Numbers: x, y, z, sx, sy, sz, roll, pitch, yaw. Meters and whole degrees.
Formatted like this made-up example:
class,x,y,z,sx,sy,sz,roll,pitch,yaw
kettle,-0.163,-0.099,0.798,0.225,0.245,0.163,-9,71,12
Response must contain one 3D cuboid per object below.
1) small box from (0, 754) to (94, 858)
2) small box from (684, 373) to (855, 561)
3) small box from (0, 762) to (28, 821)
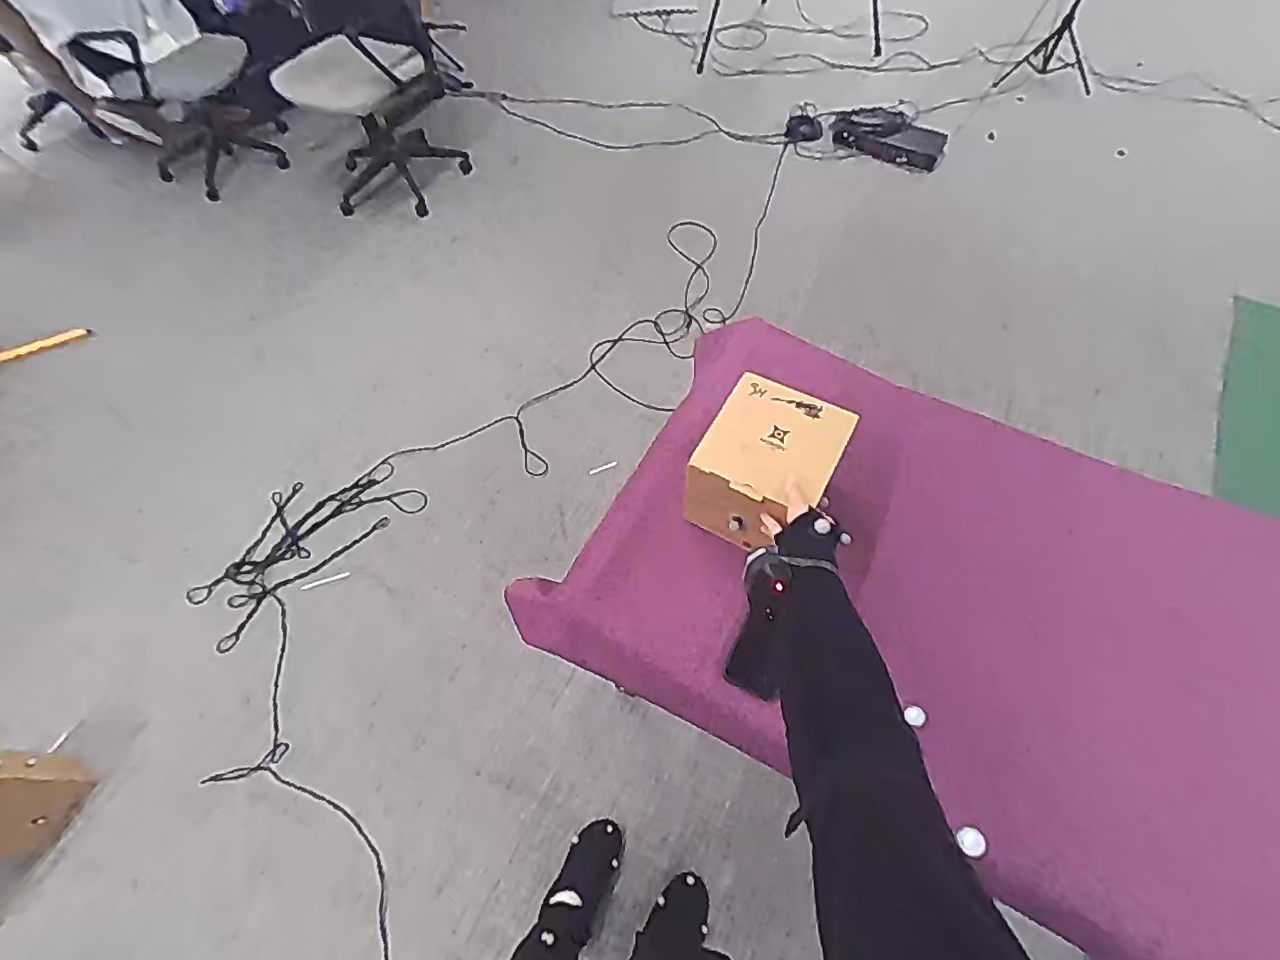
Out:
class,x,y,z,sx,sy,sz,roll,pitch,yaw
small box,-1.457,0.752,1.258,0.179,0.176,0.168,17,62,13
small box,0.176,-0.012,0.768,0.168,0.176,0.179,27,65,17
small box,-1.457,0.680,1.111,0.168,0.176,0.179,14,62,10
